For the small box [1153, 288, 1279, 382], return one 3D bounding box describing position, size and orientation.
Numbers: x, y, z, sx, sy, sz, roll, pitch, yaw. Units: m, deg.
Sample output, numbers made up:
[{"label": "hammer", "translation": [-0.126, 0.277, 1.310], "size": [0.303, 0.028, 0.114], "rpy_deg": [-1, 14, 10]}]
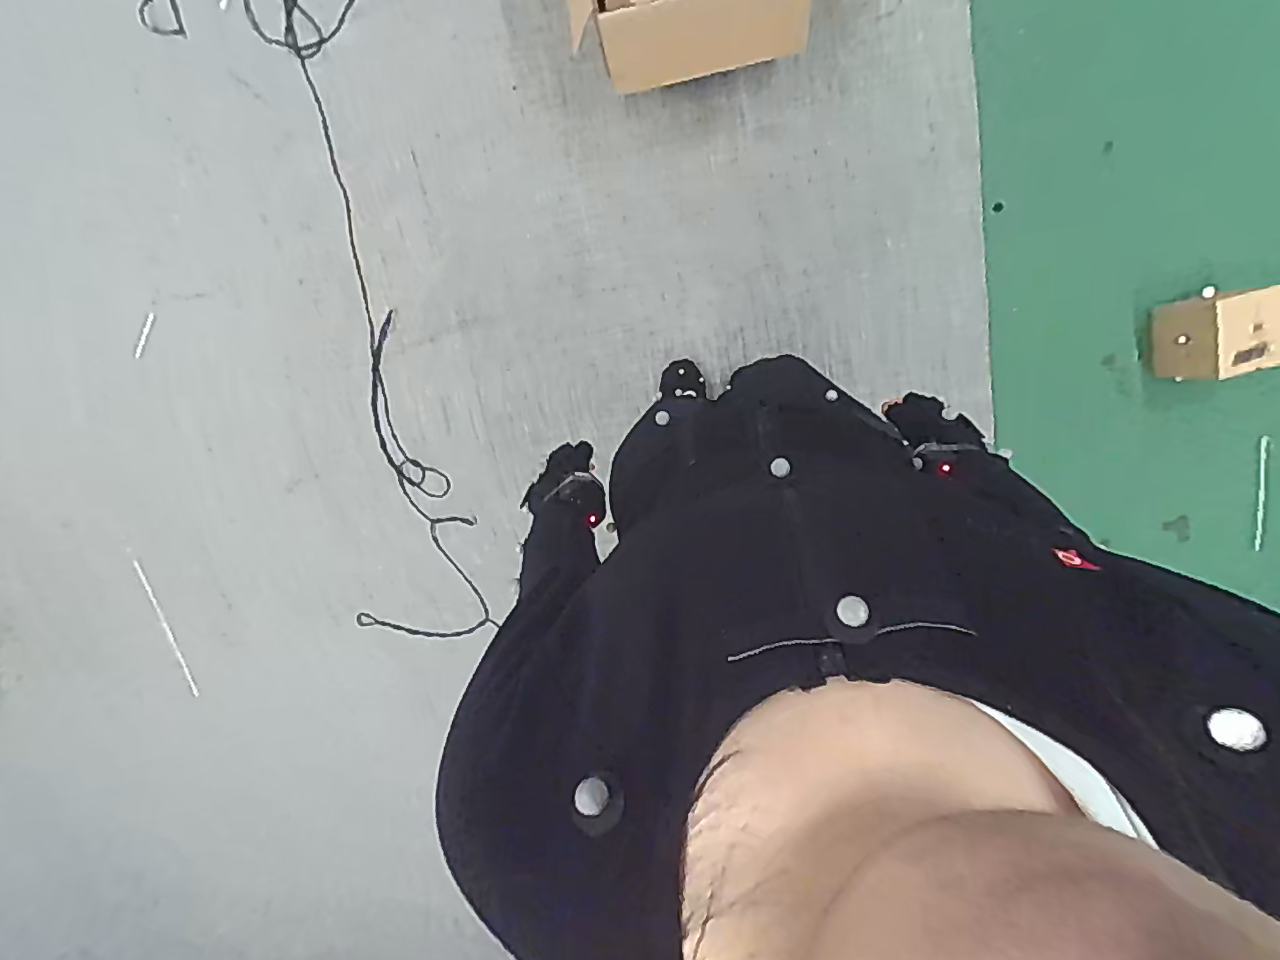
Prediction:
[{"label": "small box", "translation": [1.348, -0.334, 1.254], "size": [0.168, 0.176, 0.179], "rpy_deg": [-13, 101, 6]}]
